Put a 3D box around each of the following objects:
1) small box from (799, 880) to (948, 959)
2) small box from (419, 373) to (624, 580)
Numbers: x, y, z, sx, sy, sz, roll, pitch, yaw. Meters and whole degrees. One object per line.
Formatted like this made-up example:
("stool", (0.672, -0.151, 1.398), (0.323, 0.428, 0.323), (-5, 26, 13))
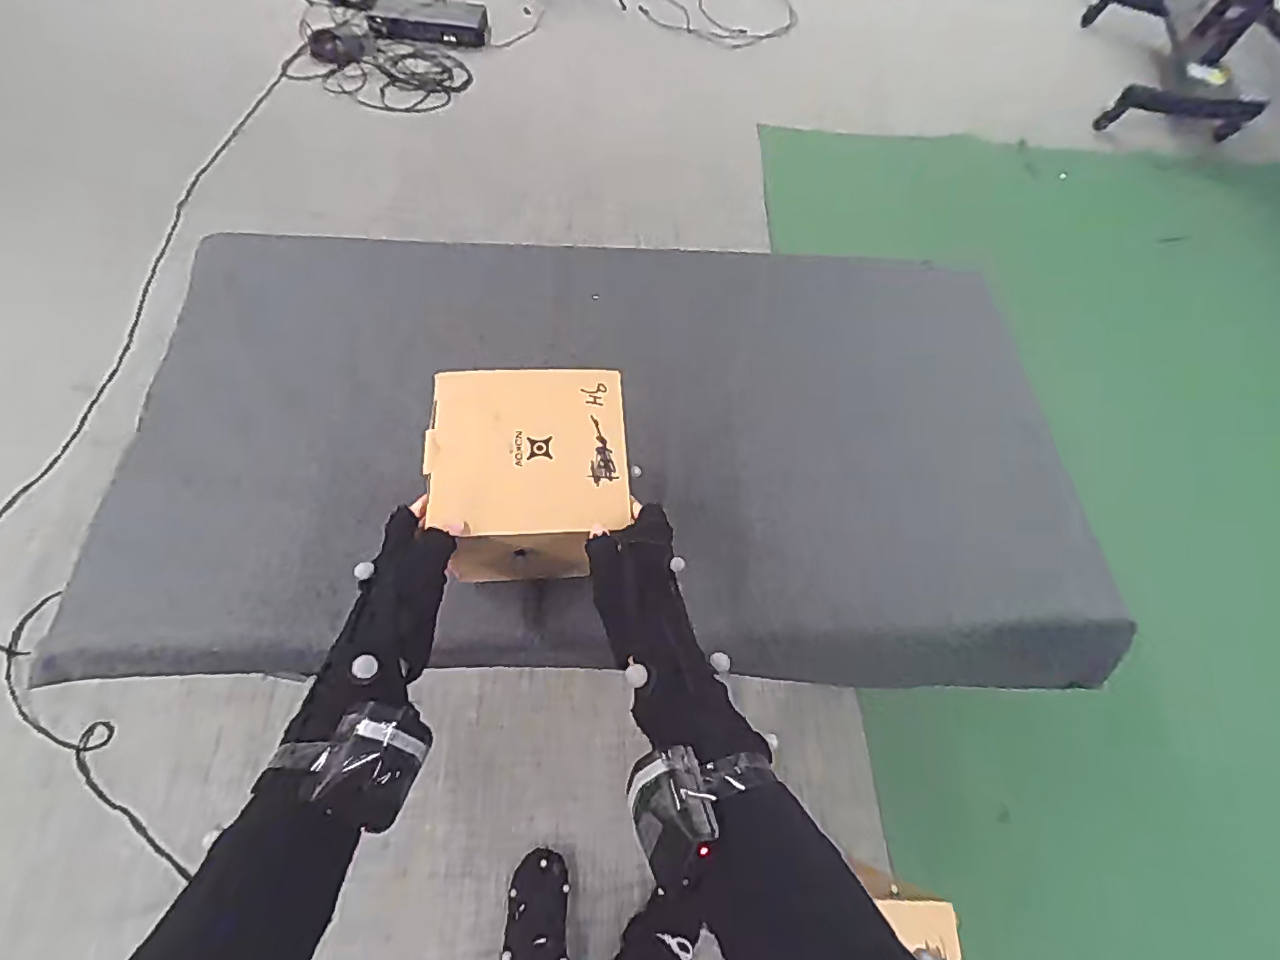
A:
("small box", (0.381, 0.778, 0.892), (0.179, 0.176, 0.168), (5, 62, -3))
("small box", (-0.110, 0.005, 0.564), (0.179, 0.176, 0.168), (-1, 66, -7))
